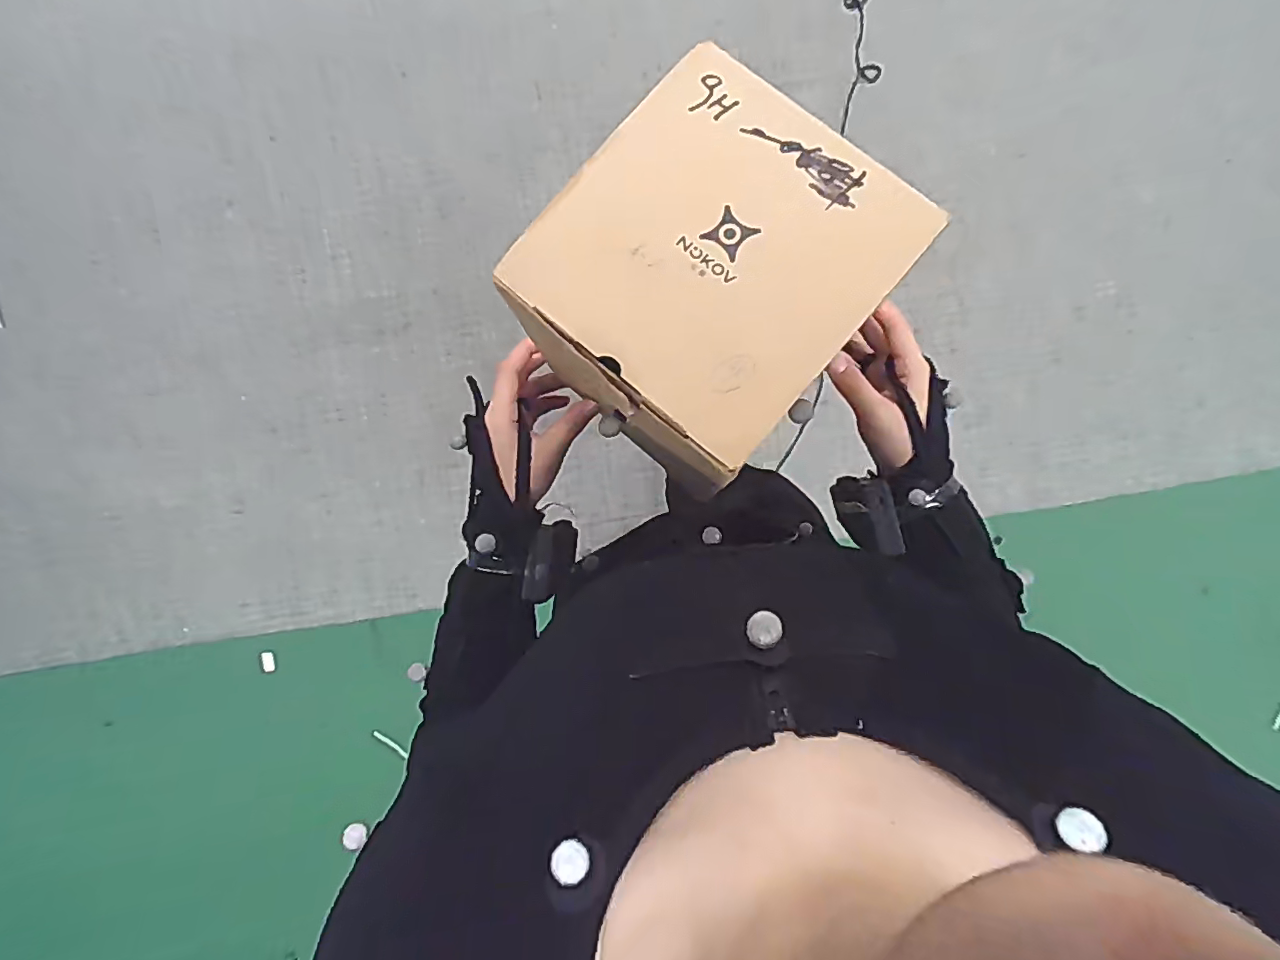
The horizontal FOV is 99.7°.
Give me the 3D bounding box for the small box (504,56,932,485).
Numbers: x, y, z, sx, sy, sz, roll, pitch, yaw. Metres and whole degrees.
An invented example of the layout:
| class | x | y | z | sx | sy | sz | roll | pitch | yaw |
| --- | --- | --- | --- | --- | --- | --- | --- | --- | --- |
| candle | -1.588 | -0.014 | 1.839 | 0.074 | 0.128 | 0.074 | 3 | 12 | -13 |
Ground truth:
| class | x | y | z | sx | sy | sz | roll | pitch | yaw |
| --- | --- | --- | --- | --- | --- | --- | --- | --- | --- |
| small box | 0.045 | -0.113 | 0.369 | 0.168 | 0.176 | 0.179 | 40 | 87 | 7 |
